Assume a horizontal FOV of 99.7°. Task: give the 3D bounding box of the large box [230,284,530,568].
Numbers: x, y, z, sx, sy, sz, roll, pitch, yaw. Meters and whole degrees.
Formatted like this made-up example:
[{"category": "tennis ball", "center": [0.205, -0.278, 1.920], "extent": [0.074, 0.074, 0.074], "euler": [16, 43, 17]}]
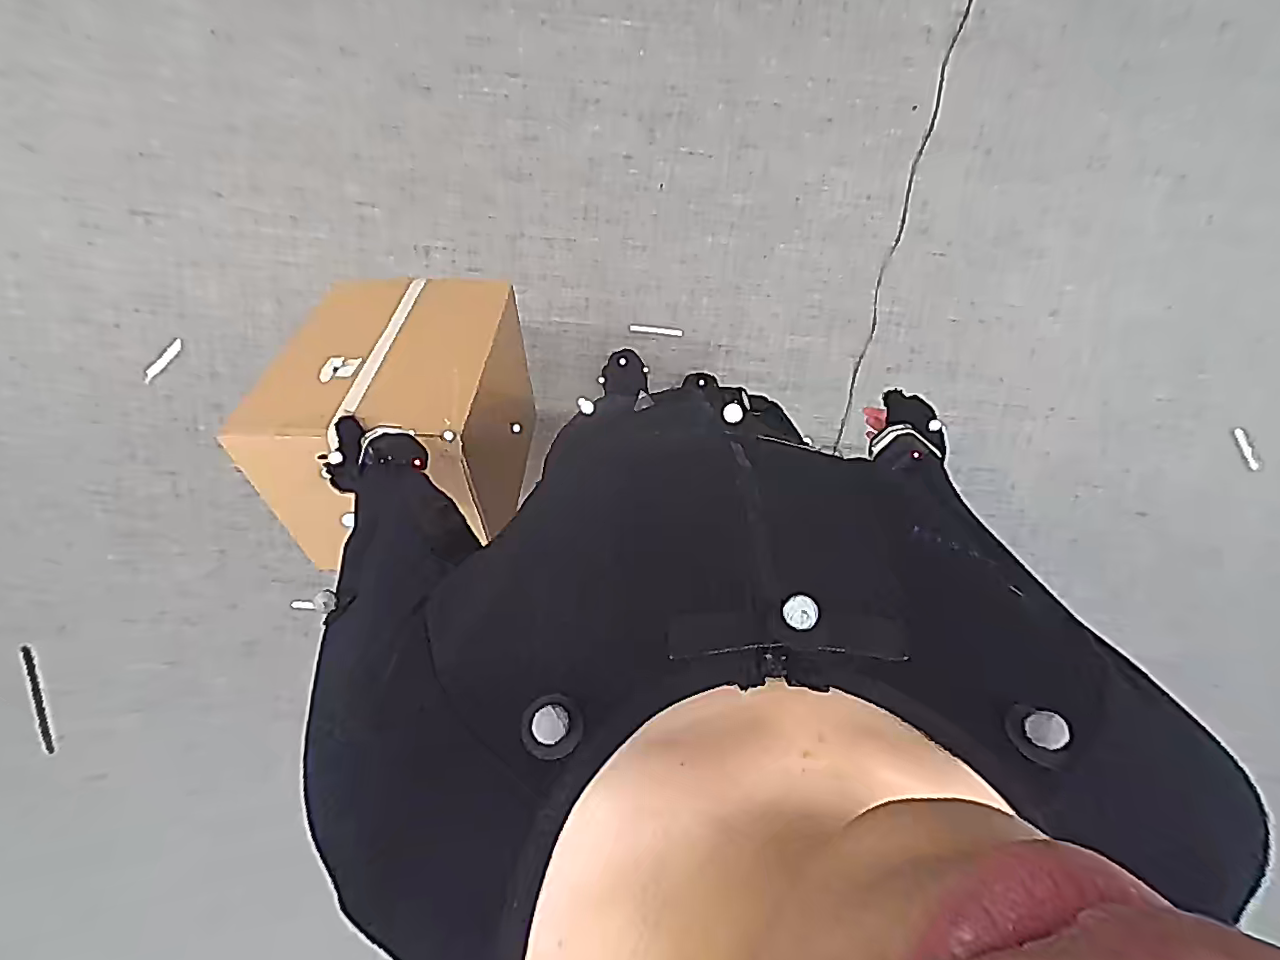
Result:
[{"category": "large box", "center": [-0.388, -0.098, 0.946], "extent": [0.320, 0.408, 0.320], "euler": [0, 139, 1]}]
